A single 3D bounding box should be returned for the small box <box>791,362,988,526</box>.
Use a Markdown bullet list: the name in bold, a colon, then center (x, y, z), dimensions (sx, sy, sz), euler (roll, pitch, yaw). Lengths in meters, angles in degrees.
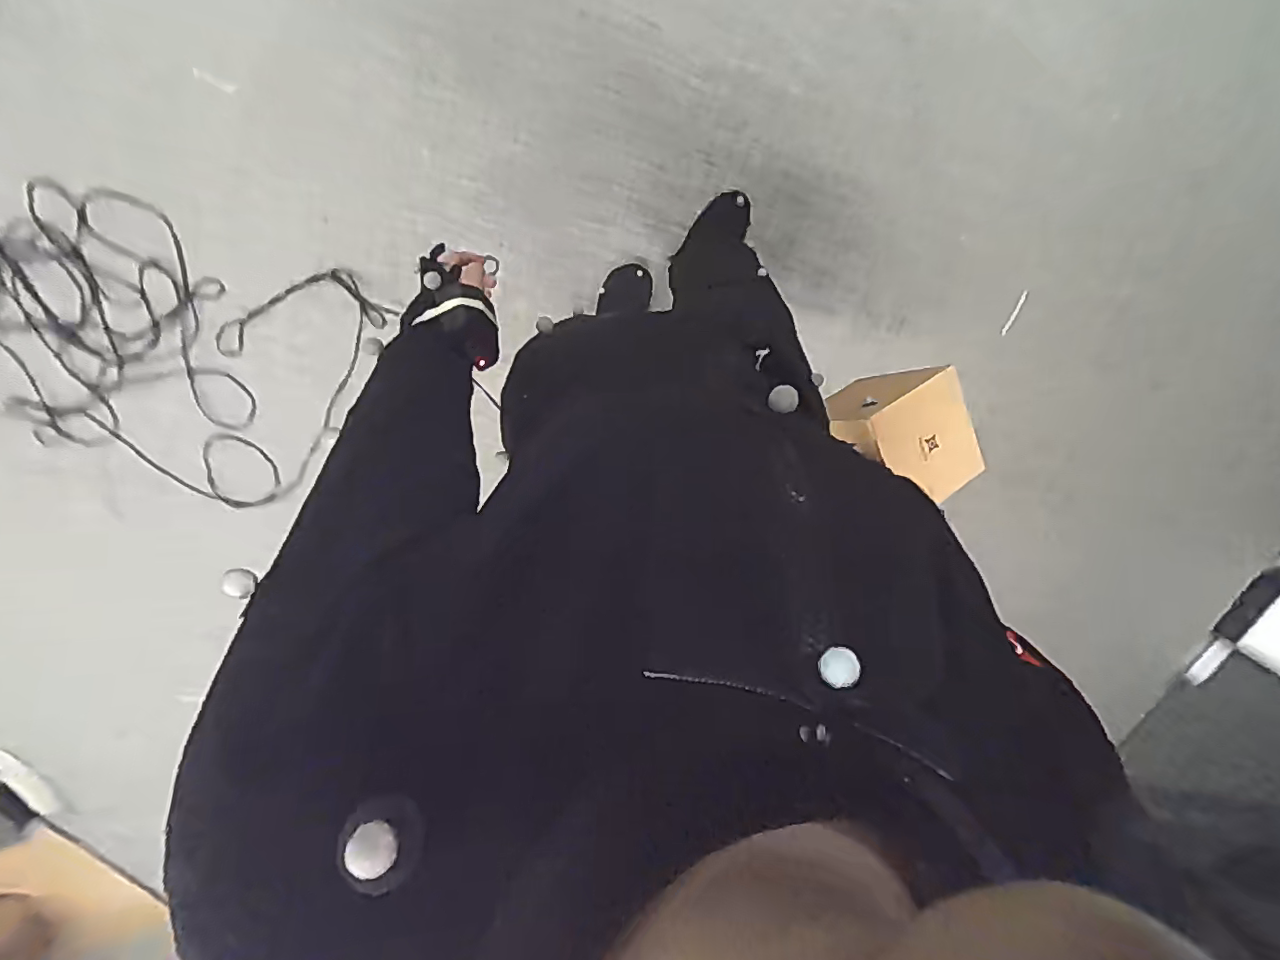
- **small box**: center (0.357, -0.055, 0.789), dimensions (0.179, 0.176, 0.168), euler (-30, 104, -18)
